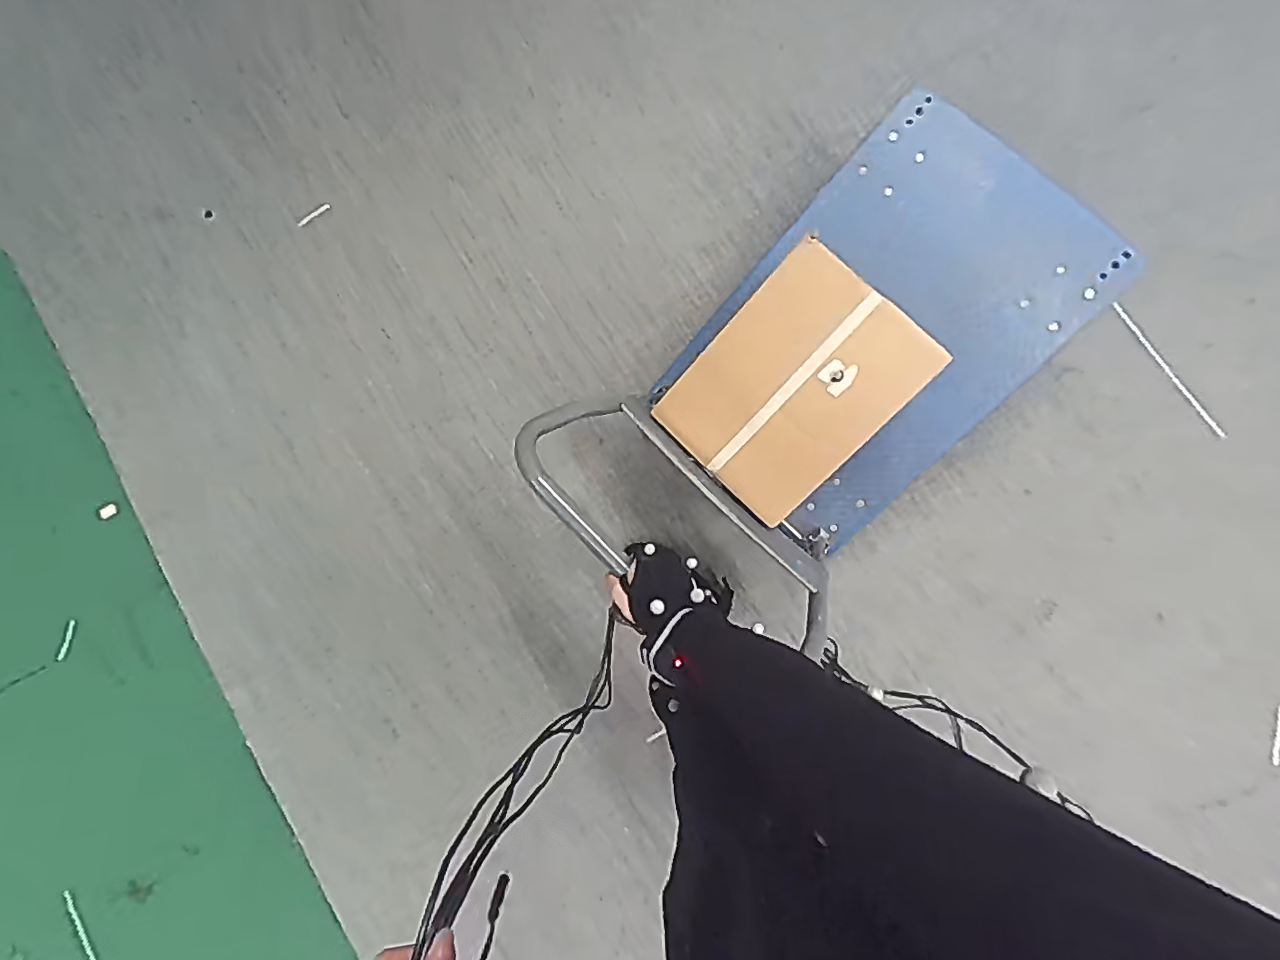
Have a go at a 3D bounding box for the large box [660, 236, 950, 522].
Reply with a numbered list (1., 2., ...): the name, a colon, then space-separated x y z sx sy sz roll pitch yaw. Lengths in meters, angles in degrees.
1. large box: 0.309 -0.180 1.079 0.320 0.320 0.408 46 106 7
